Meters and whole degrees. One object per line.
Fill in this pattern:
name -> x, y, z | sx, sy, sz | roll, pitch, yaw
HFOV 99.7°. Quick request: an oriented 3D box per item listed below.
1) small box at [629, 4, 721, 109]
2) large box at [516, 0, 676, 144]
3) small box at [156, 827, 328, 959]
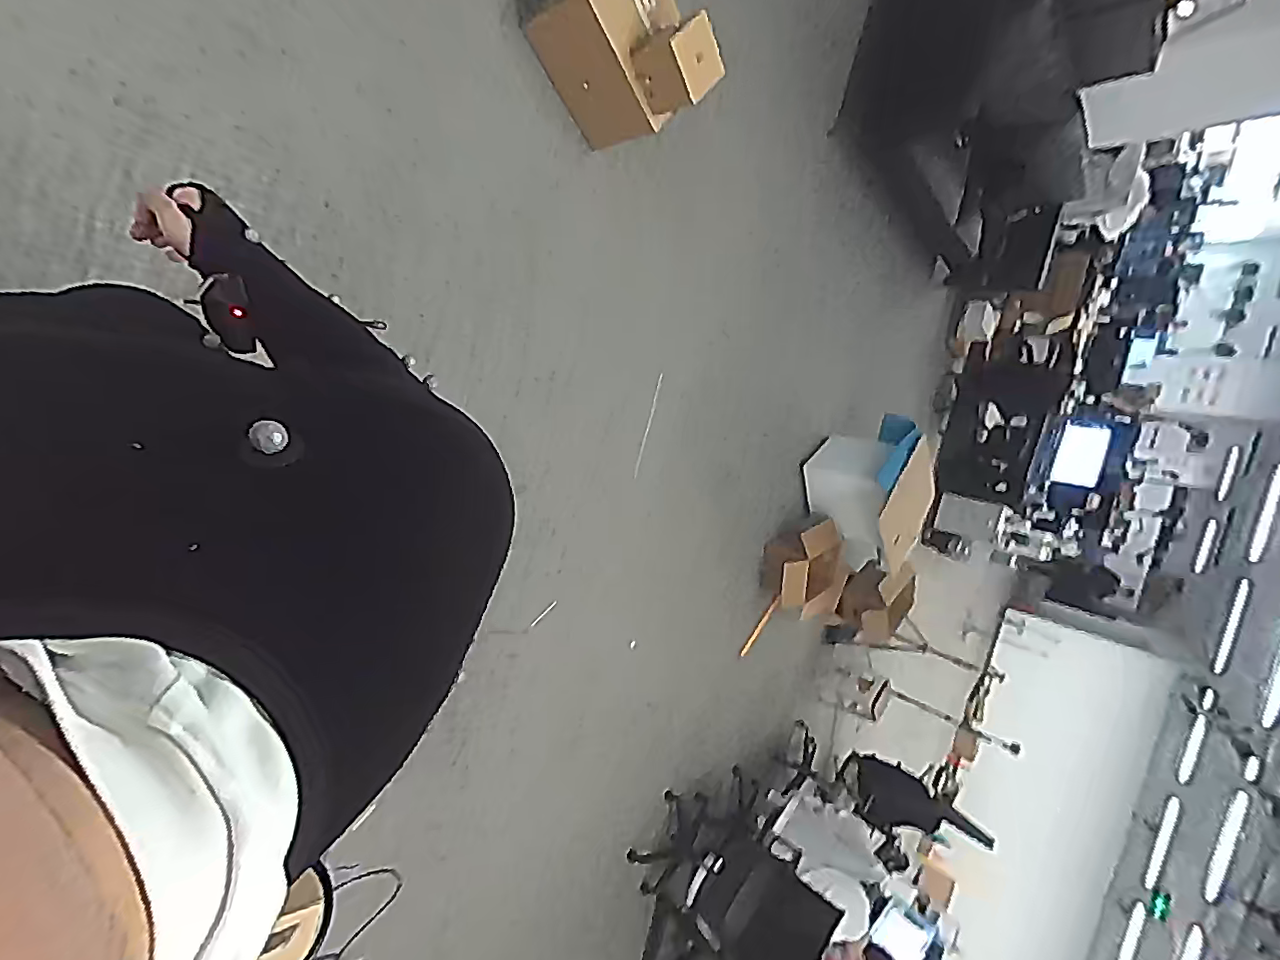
small box -> 0.100, -1.223, 1.570 | 0.179, 0.176, 0.168 | -53, 134, -17
large box -> -0.096, -1.358, 1.684 | 0.408, 0.320, 0.320 | 45, 70, -44
small box -> -0.617, 0.677, 0.833 | 0.168, 0.176, 0.179 | 15, 94, -47
